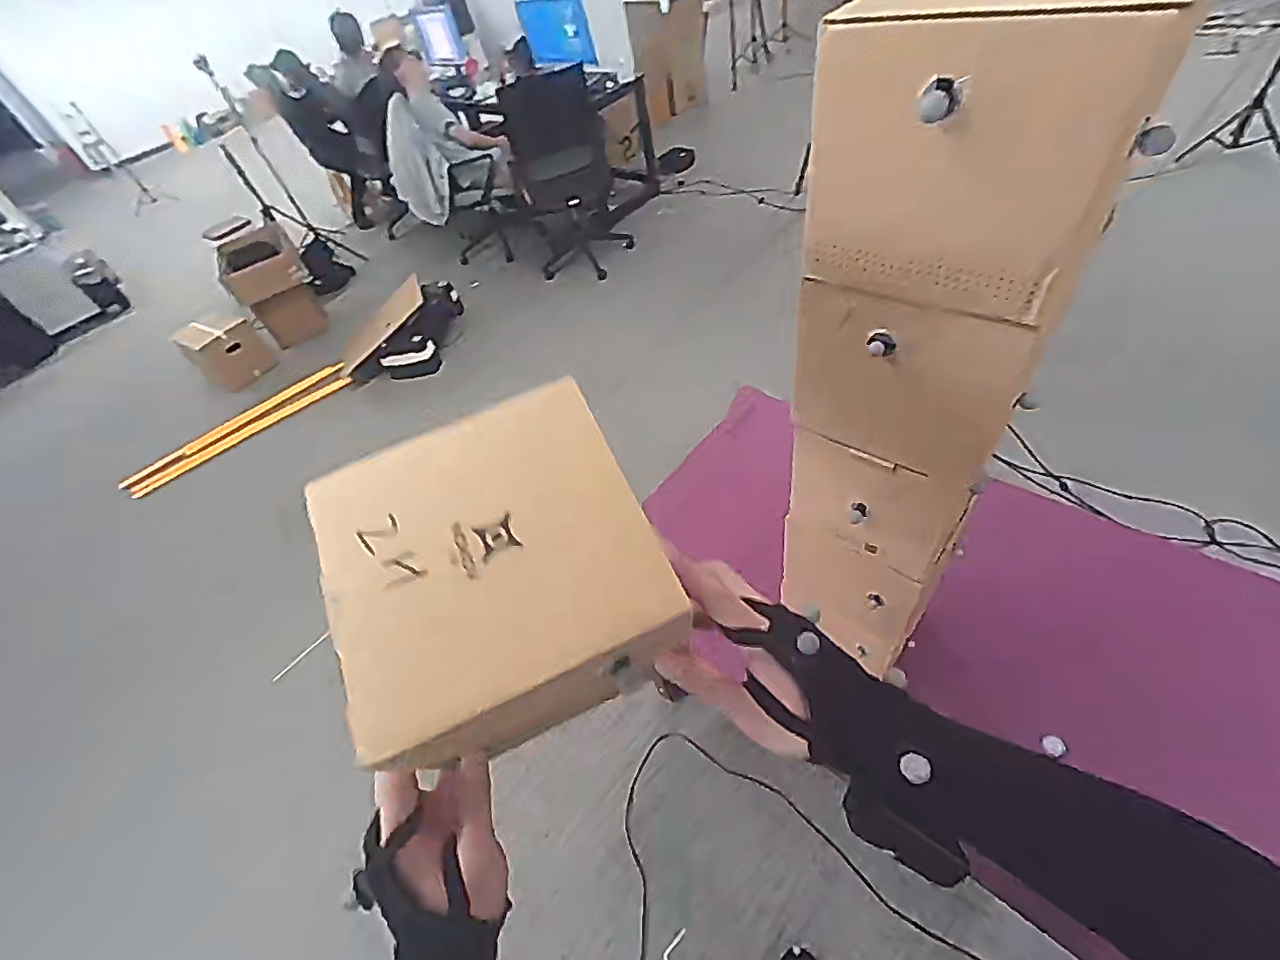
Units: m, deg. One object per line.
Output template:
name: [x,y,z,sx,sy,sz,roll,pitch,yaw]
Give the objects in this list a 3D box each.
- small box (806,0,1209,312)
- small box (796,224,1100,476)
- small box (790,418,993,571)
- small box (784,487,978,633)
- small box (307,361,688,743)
small box: [0.232,-0.237,0.371,0.179,0.176,0.168,27,61,32]
small box: [0.257,-0.131,0.491,0.179,0.176,0.168,28,61,31]
small box: [0.288,-0.028,0.616,0.168,0.176,0.179,28,61,31]
small box: [0.314,0.081,0.734,0.179,0.176,0.168,28,61,33]
small box: [-0.080,0.058,0.366,0.179,0.176,0.168,-24,64,-6]
